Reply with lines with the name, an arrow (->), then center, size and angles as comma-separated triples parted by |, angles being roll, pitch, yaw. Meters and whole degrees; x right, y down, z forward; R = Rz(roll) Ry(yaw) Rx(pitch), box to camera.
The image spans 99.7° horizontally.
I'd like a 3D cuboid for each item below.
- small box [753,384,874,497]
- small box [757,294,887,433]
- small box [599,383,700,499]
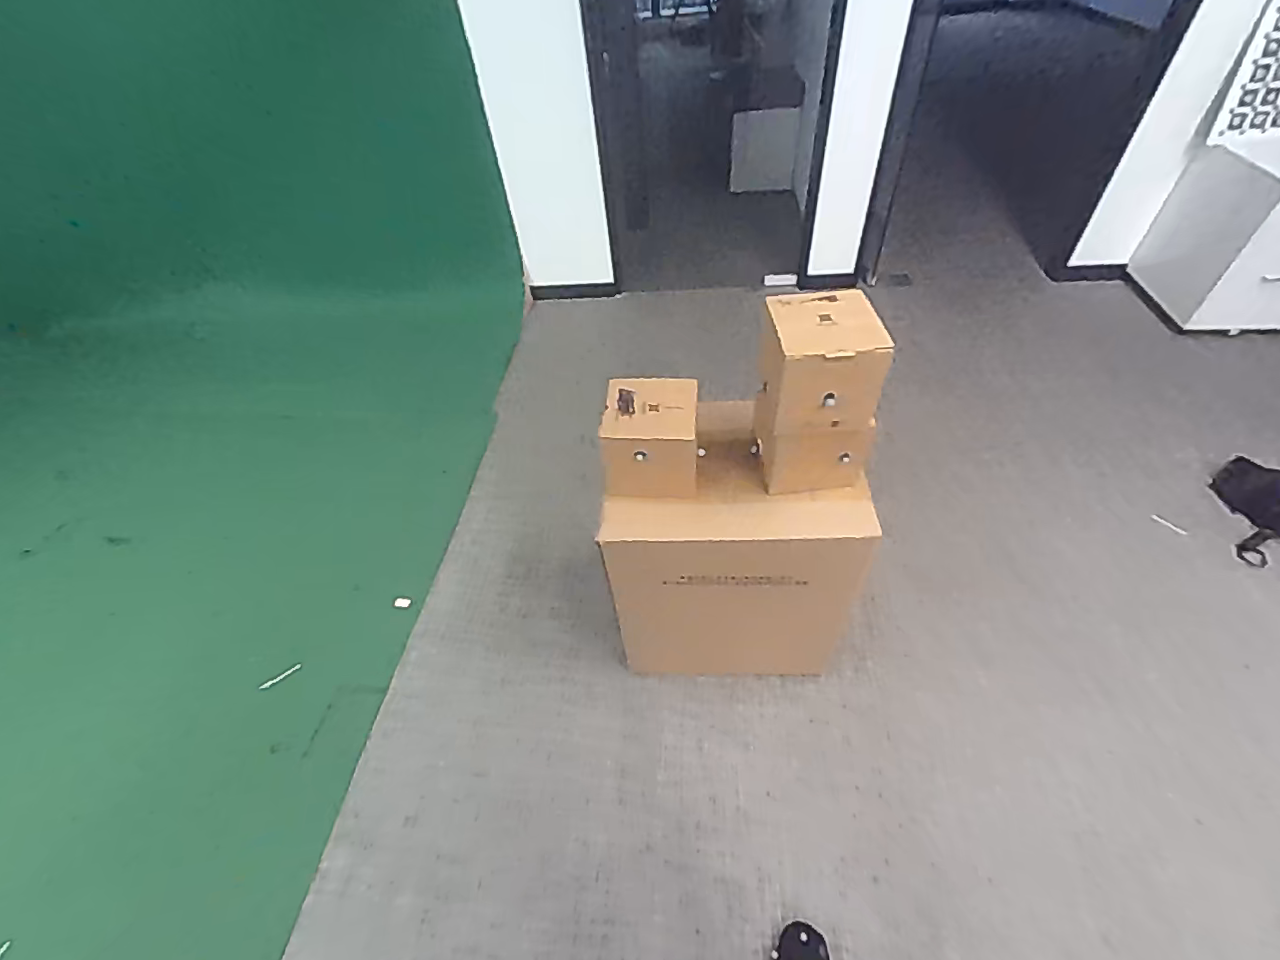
small box -> 0.325, -0.087, 1.055 | 0.179, 0.176, 0.168 | -8, 48, 1
small box -> 0.300, -0.194, 0.933 | 0.168, 0.176, 0.179 | -4, 48, 3
small box -> 0.027, -0.076, 1.079 | 0.179, 0.176, 0.168 | 1, 50, 8
